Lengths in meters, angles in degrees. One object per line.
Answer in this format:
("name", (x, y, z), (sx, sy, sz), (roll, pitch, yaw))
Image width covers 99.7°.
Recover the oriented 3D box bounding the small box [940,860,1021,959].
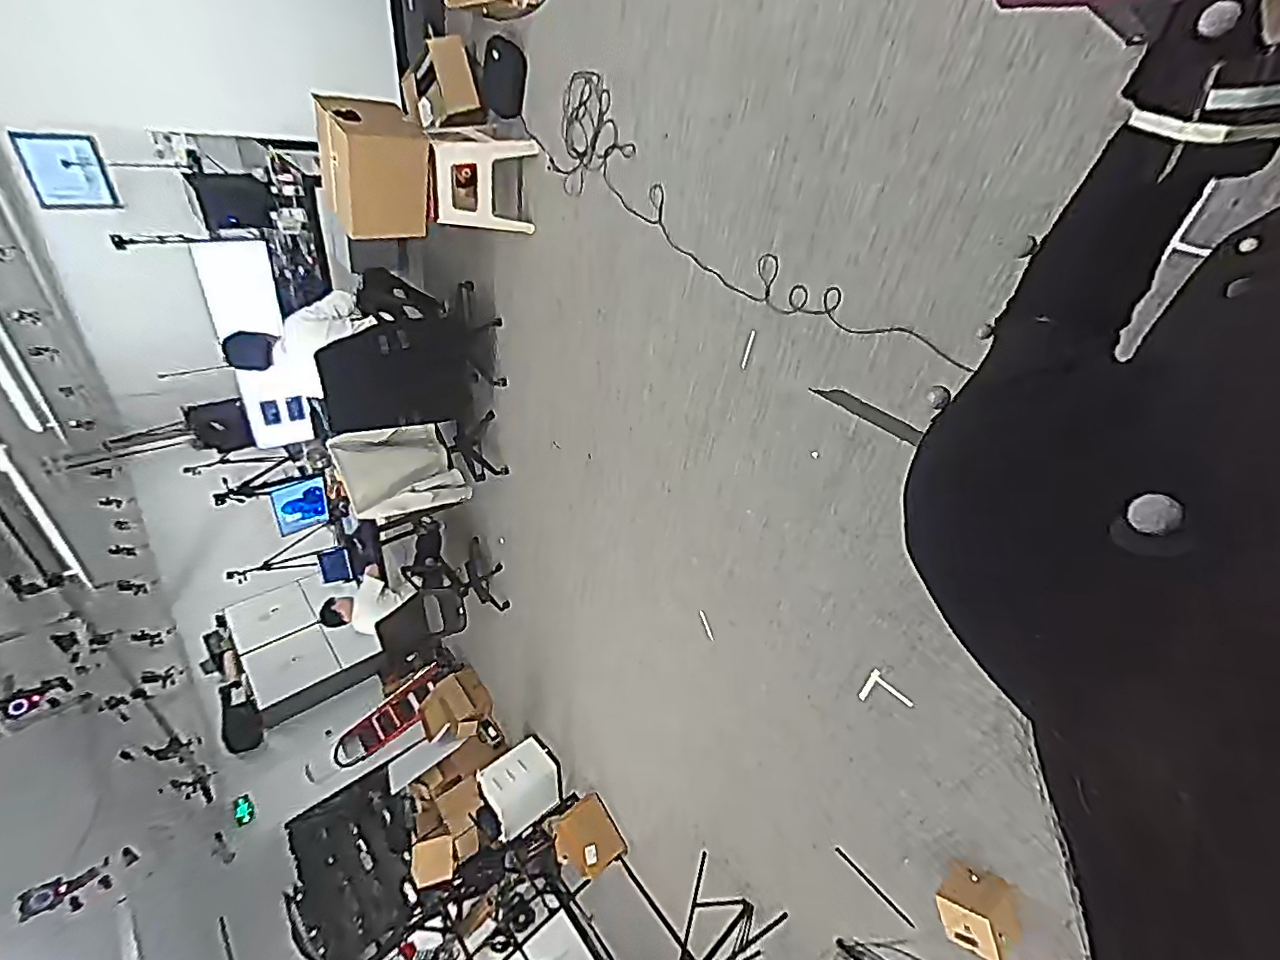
("small box", (1.137, 1.429, 1.800), (0.168, 0.176, 0.179), (-9, 100, 52))
